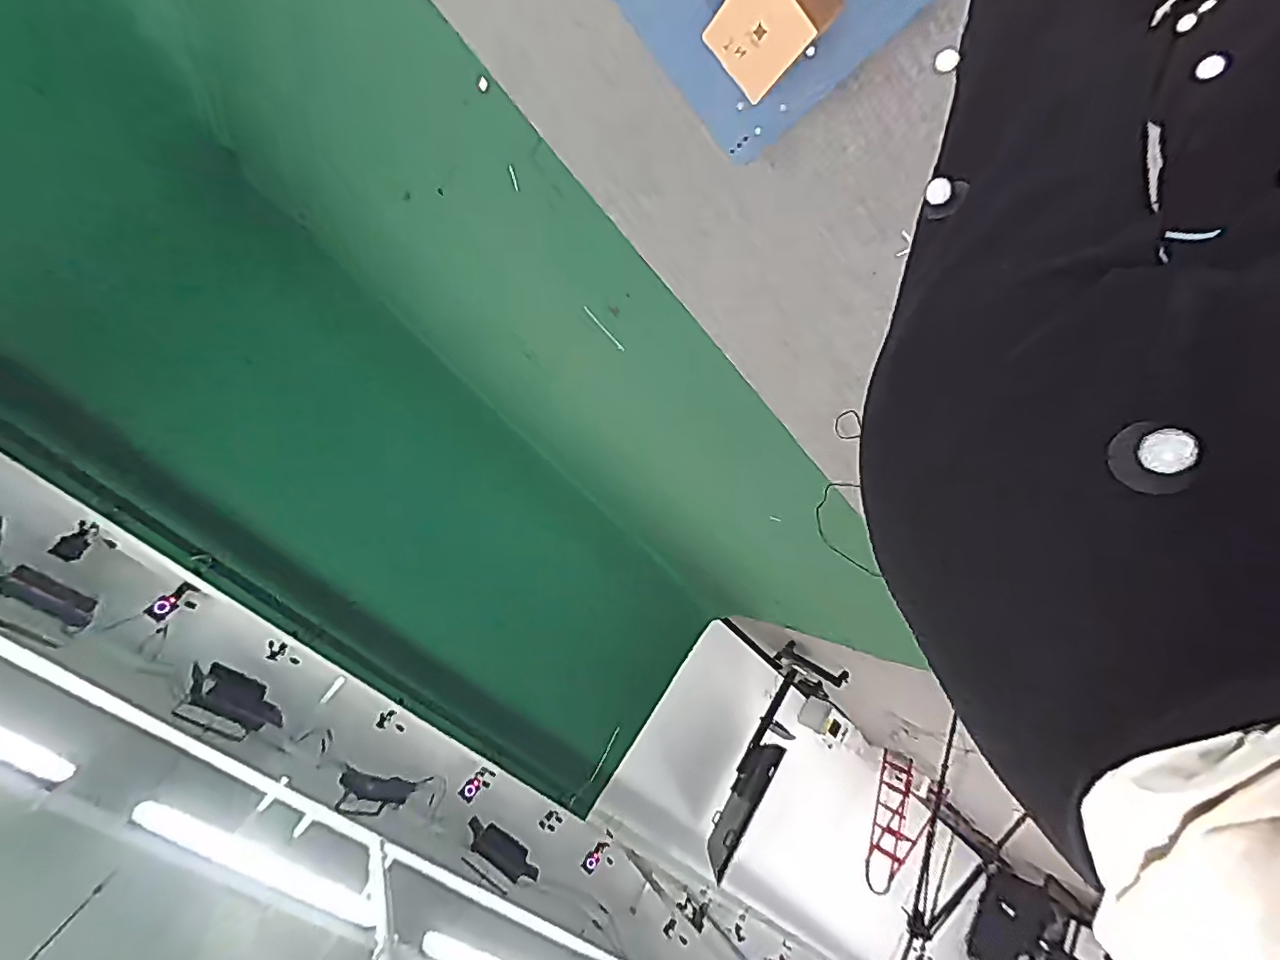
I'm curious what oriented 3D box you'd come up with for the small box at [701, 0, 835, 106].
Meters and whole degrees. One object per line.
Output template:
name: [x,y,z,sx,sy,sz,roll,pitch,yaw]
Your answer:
small box: [0.260,-0.903,1.066,0.168,0.176,0.179,43,152,-17]
